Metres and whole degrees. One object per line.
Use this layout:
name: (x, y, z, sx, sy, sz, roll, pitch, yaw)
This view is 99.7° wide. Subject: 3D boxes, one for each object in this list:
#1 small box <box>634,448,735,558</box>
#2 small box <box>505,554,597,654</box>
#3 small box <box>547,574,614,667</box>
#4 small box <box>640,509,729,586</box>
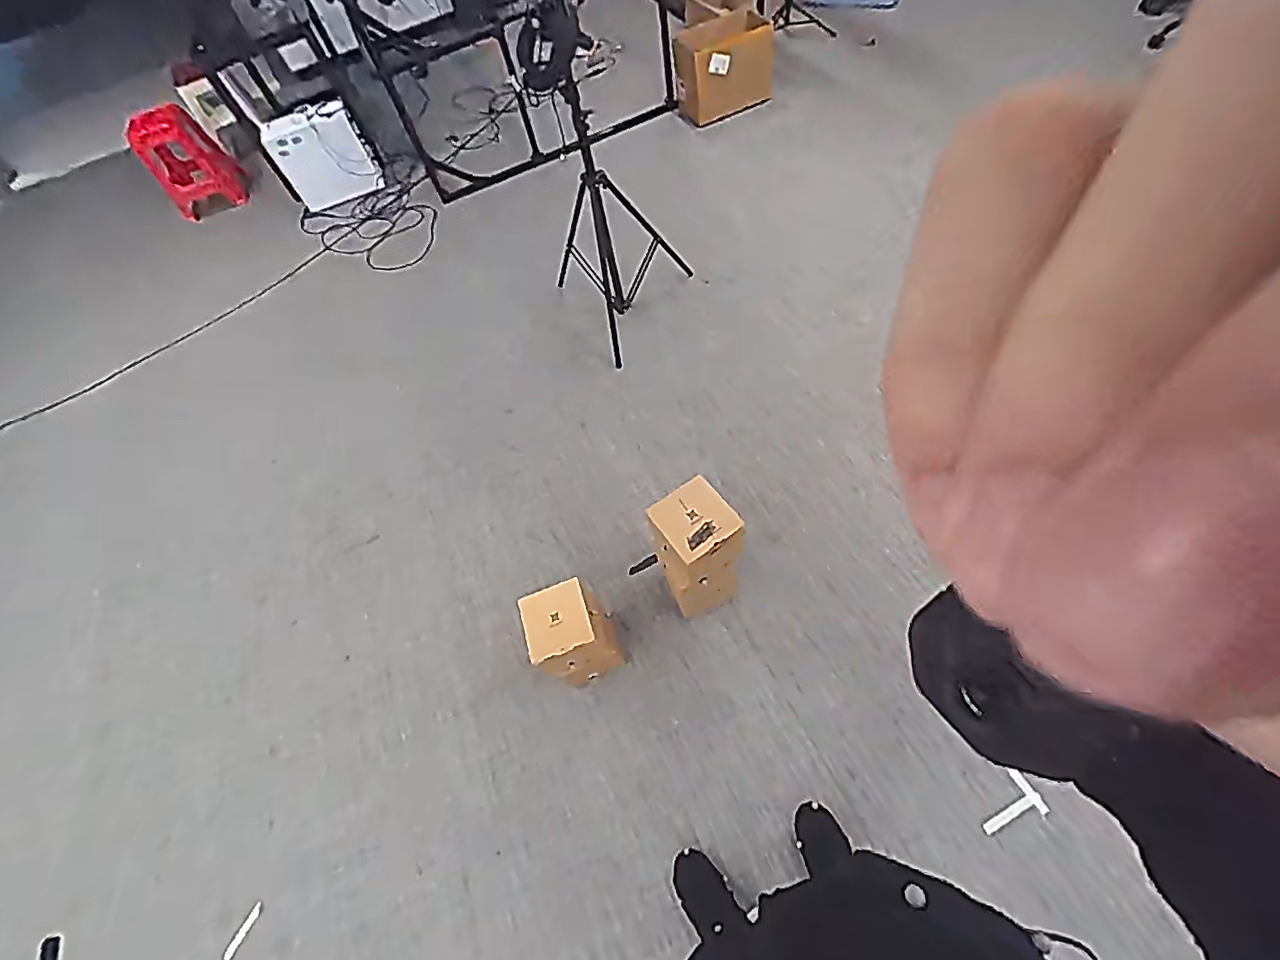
small box: (0.109, 0.064, 1.272, 0.168, 0.176, 0.179, -33, 61, -10)
small box: (-0.223, 0.320, 1.377, 0.168, 0.176, 0.179, -22, 60, -2)
small box: (-0.188, 0.398, 1.515, 0.168, 0.176, 0.179, -24, 59, -4)
small box: (0.118, 0.147, 1.415, 0.168, 0.176, 0.179, -27, 59, -6)
